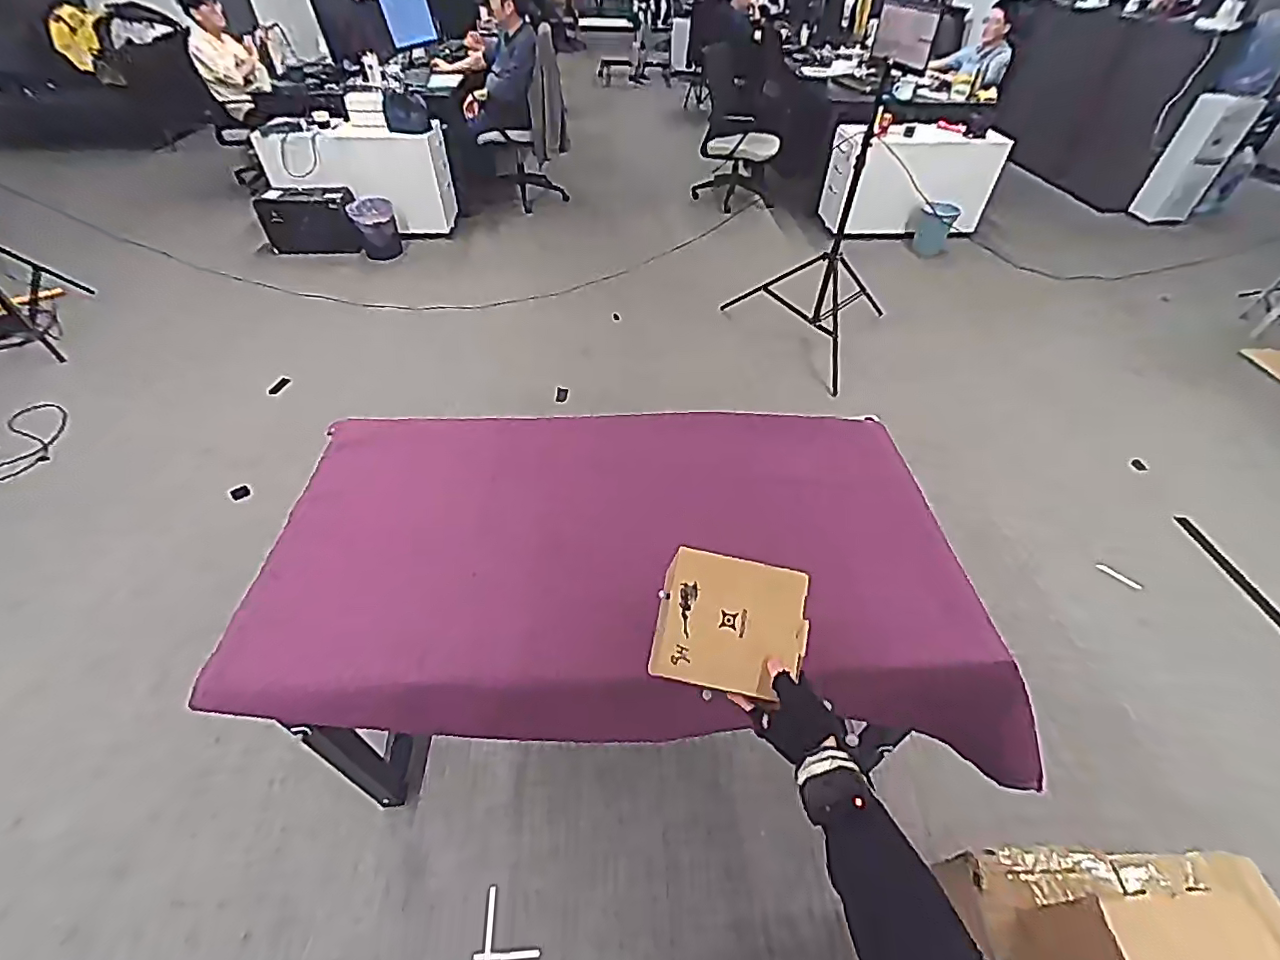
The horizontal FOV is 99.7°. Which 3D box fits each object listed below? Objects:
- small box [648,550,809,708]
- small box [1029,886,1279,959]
[{"bbox_3d":[0.117,0.210,0.760,0.179,0.176,0.168,13,70,1],"label":"small box"},{"bbox_3d":[0.580,0.567,0.590,0.168,0.176,0.179,-2,47,-1],"label":"small box"}]
